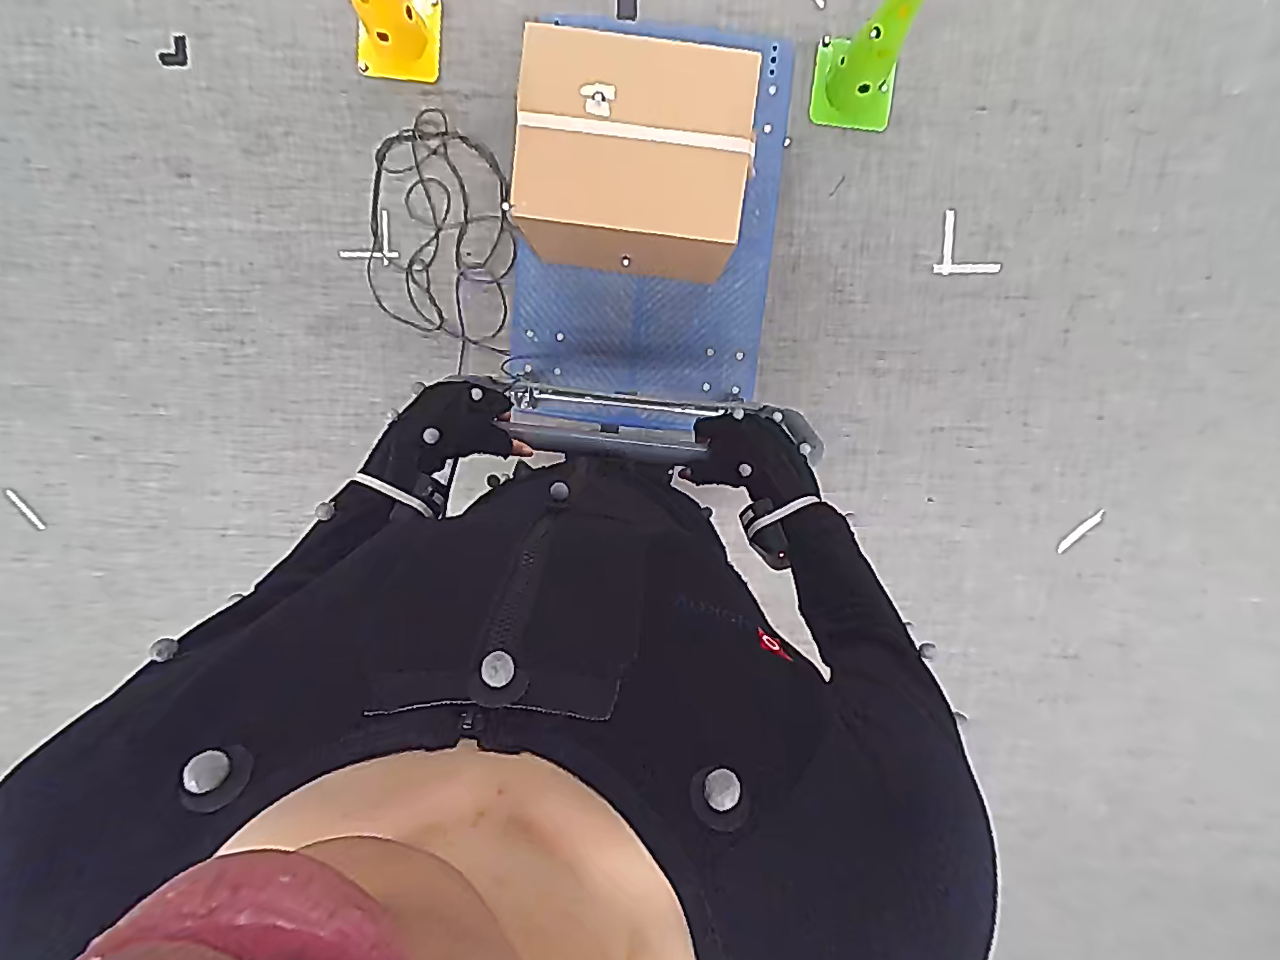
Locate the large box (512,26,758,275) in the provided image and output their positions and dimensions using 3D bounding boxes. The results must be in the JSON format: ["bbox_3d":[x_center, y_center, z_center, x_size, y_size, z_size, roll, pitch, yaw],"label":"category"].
[{"bbox_3d":[-0.009,-0.615,1.076,0.408,0.320,0.320,7,97,0],"label":"large box"}]

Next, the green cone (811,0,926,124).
[{"bbox_3d":[0.535,-0.981,1.176,0.202,0.368,0.200,6,97,-2],"label":"green cone"}]
